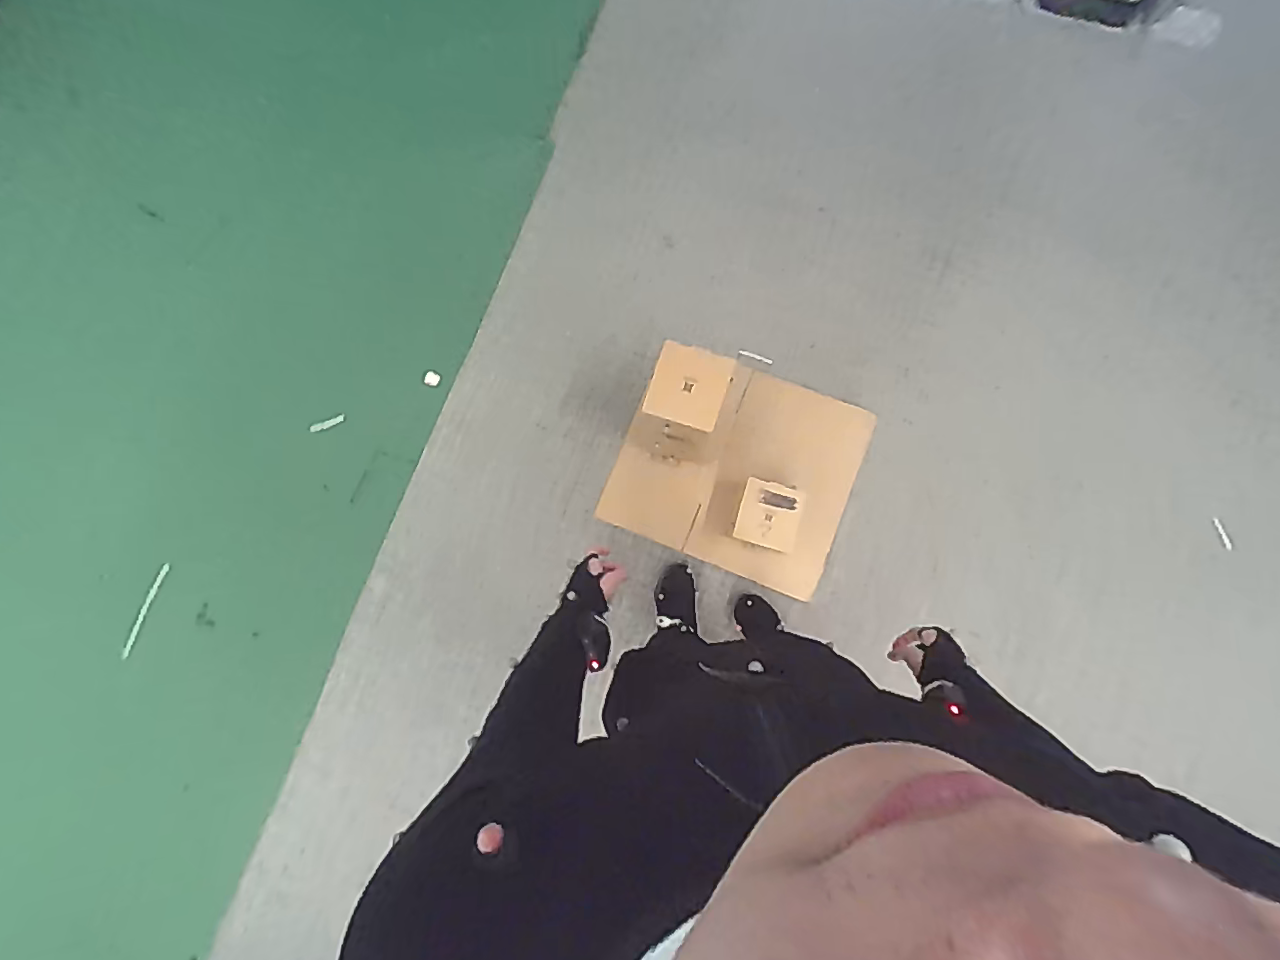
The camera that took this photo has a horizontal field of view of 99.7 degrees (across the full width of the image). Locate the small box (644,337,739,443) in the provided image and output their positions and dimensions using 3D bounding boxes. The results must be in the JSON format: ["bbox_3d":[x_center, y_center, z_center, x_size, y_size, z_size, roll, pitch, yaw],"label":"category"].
[{"bbox_3d":[0.120,-0.199,1.252,0.168,0.176,0.179,18,84,7],"label":"small box"}]
